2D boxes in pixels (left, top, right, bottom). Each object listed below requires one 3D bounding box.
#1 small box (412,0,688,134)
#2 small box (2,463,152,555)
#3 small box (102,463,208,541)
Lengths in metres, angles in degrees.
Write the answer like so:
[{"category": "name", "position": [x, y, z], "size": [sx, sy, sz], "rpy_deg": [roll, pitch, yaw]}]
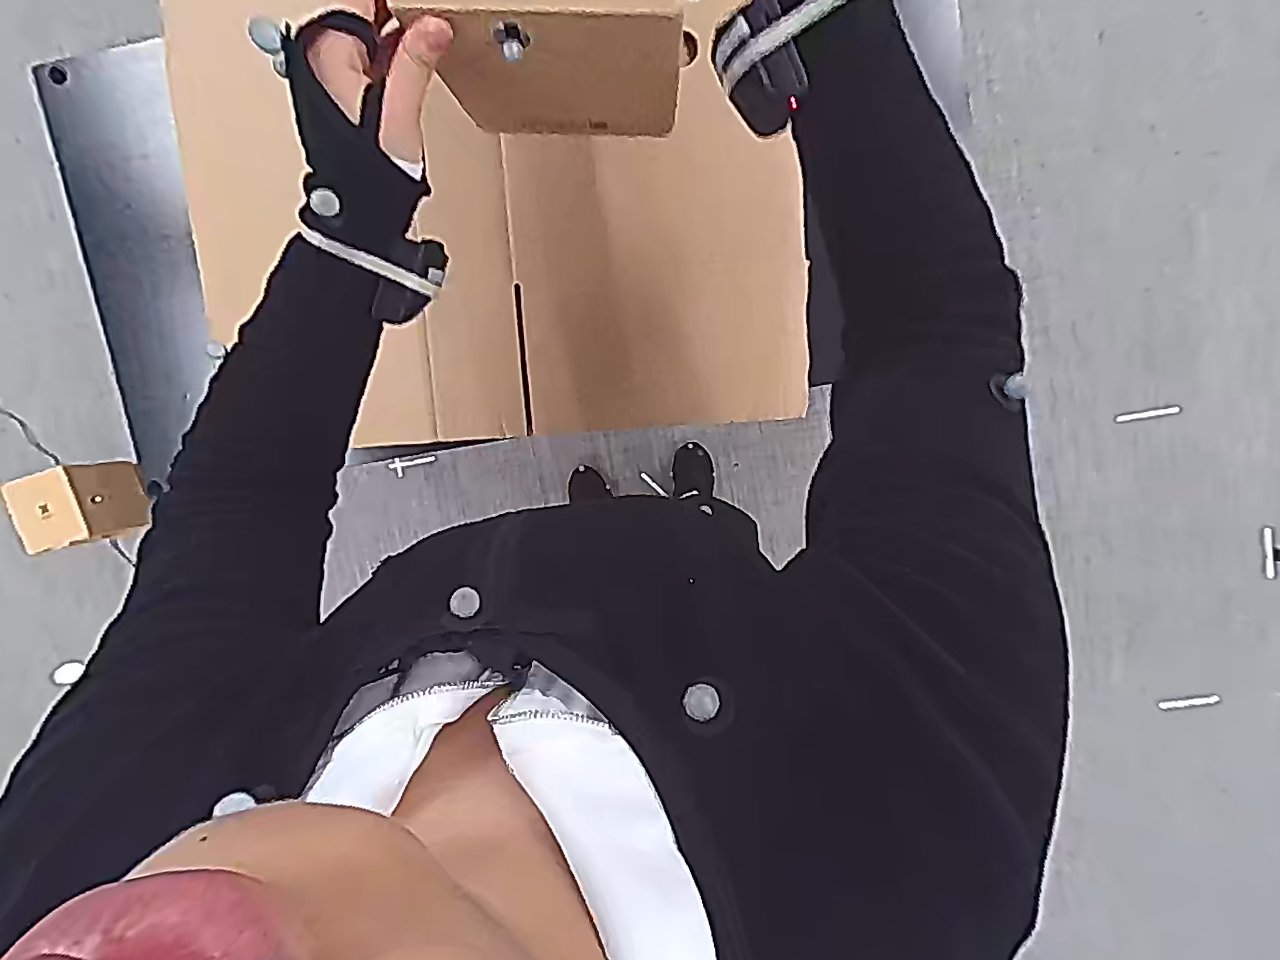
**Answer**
[{"category": "small box", "position": [-0.051, -0.366, 0.360], "size": [0.168, 0.176, 0.179], "rpy_deg": [2, 102, 1]}, {"category": "small box", "position": [-1.361, 0.064, 1.322], "size": [0.168, 0.176, 0.179], "rpy_deg": [-17, 94, 4]}, {"category": "small box", "position": [-1.349, 0.052, 1.484], "size": [0.168, 0.176, 0.179], "rpy_deg": [-13, 96, 5]}]
